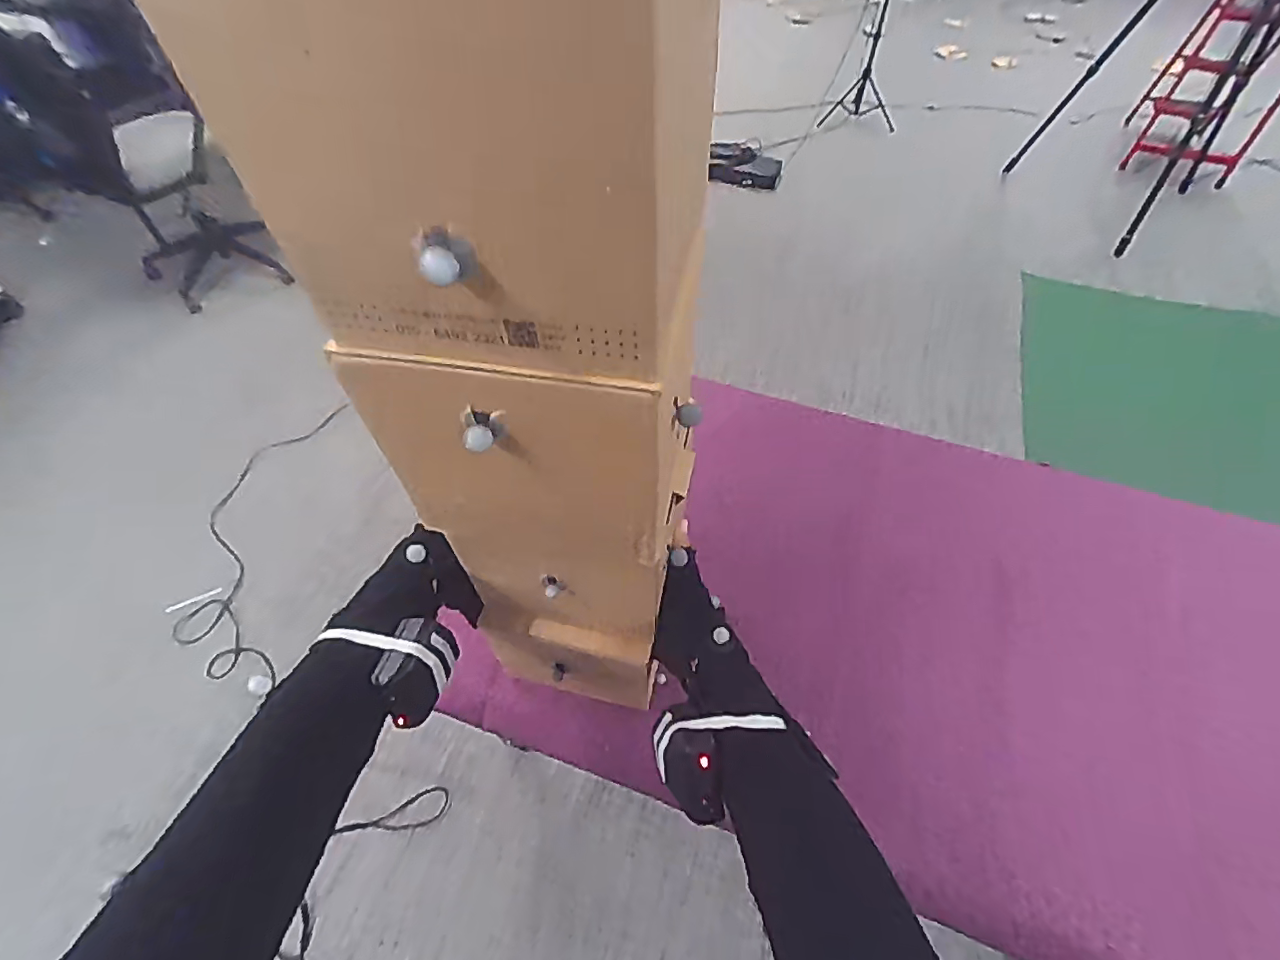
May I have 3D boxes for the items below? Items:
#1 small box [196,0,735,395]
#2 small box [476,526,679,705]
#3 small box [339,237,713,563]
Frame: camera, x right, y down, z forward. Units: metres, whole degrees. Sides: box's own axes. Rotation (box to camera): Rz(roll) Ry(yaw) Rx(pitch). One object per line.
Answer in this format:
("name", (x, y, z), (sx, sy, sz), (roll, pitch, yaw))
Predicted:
("small box", (-0.051, -0.167, 0.251), (0.168, 0.176, 0.179), (9, 54, 8))
("small box", (-0.060, 0.146, 0.631), (0.179, 0.176, 0.168), (12, 54, 8))
("small box", (-0.054, -0.059, 0.376), (0.179, 0.176, 0.168), (9, 54, 8))
